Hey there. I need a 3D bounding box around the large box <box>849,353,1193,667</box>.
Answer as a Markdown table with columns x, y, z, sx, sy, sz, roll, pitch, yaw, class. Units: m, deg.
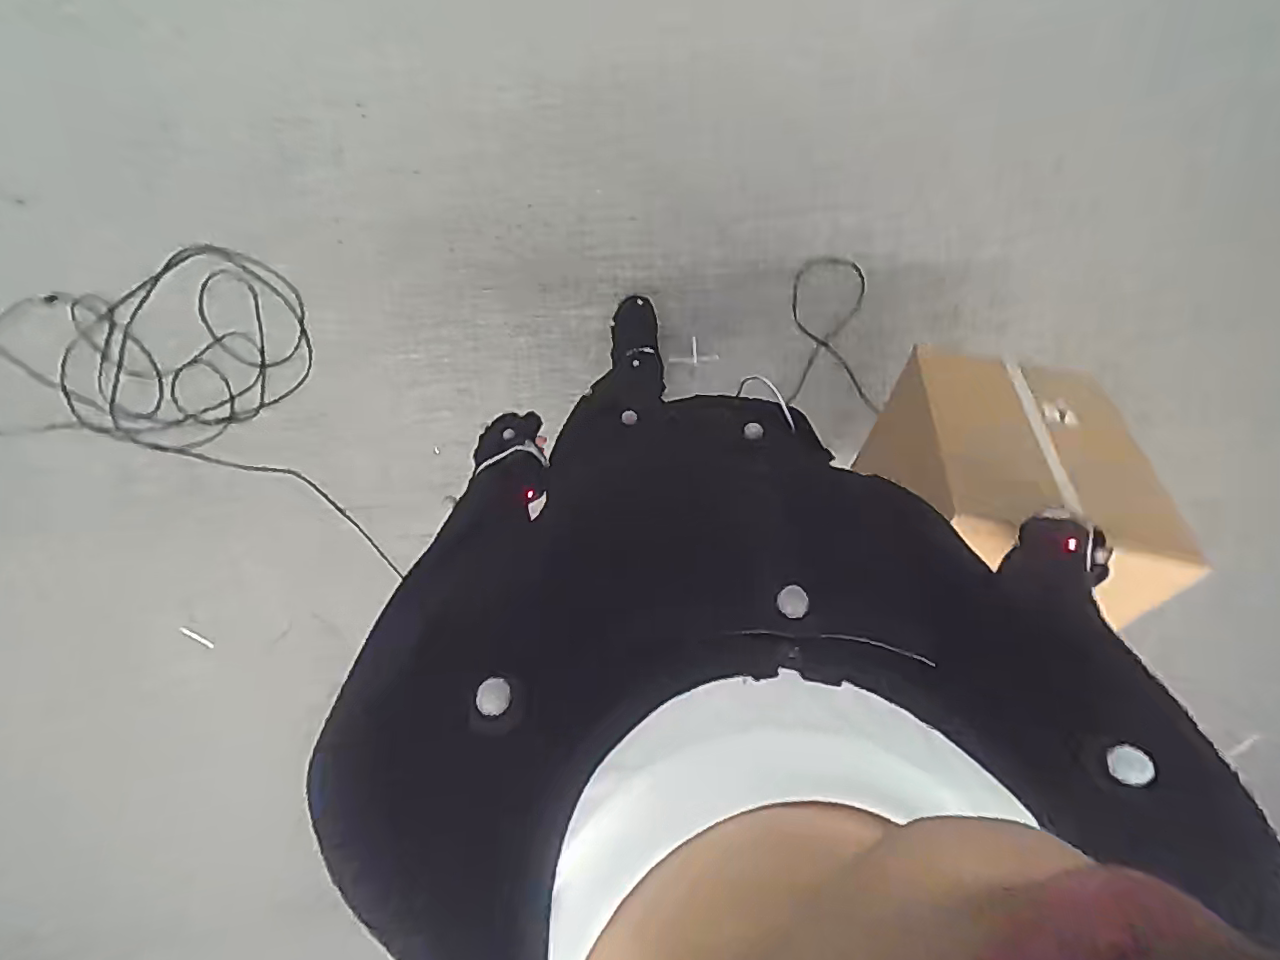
| x | y | z | sx | sy | sz | roll | pitch | yaw | class |
| --- | --- | --- | --- | --- | --- | --- | --- | --- | --- |
| 0.574 | 0.044 | 0.929 | 0.320 | 0.408 | 0.320 | 14 | 136 | 4 | large box |
